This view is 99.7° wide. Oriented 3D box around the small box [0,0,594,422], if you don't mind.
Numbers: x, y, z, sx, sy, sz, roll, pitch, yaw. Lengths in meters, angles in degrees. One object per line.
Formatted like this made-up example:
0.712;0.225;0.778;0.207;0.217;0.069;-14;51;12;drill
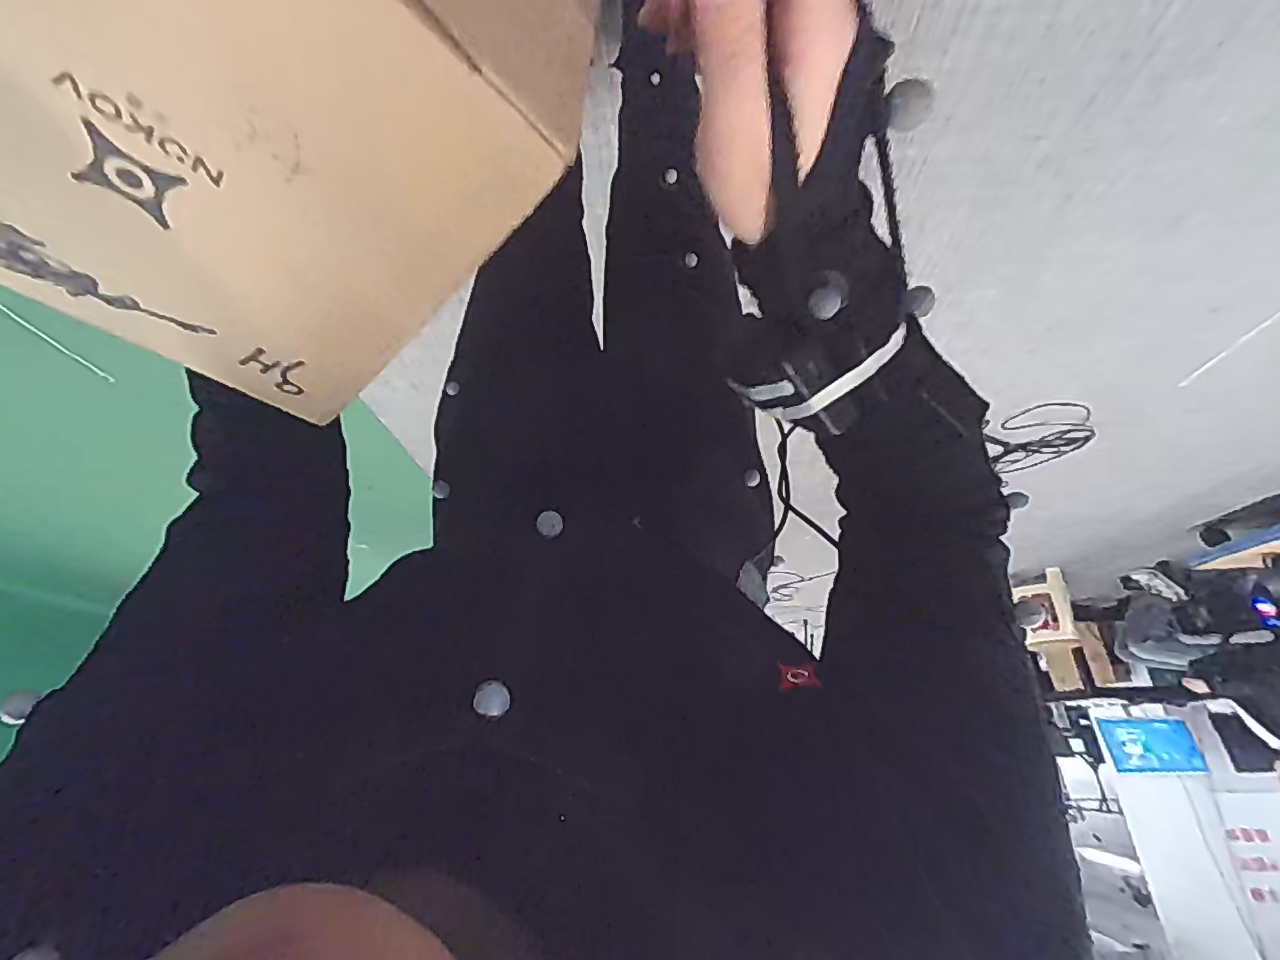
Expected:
-0.133;-0.157;0.192;0.179;0.176;0.168;-26;139;35;small box
